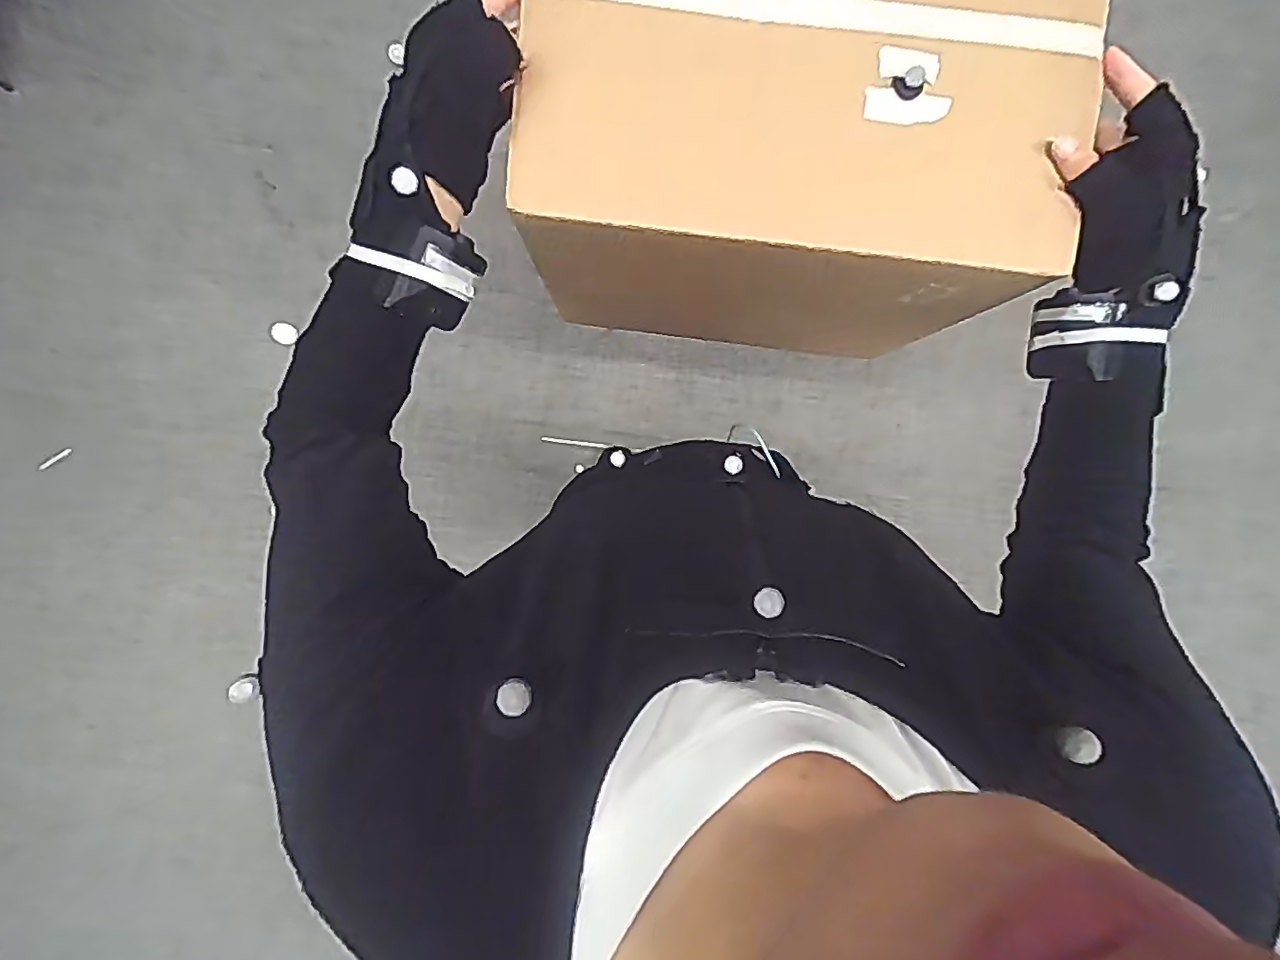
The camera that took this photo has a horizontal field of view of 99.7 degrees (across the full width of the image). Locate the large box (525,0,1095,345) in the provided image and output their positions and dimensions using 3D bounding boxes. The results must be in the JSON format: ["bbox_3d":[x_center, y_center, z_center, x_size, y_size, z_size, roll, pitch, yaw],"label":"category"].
[{"bbox_3d":[0.120,-0.335,0.535,0.408,0.320,0.320,6,93,-2],"label":"large box"}]
